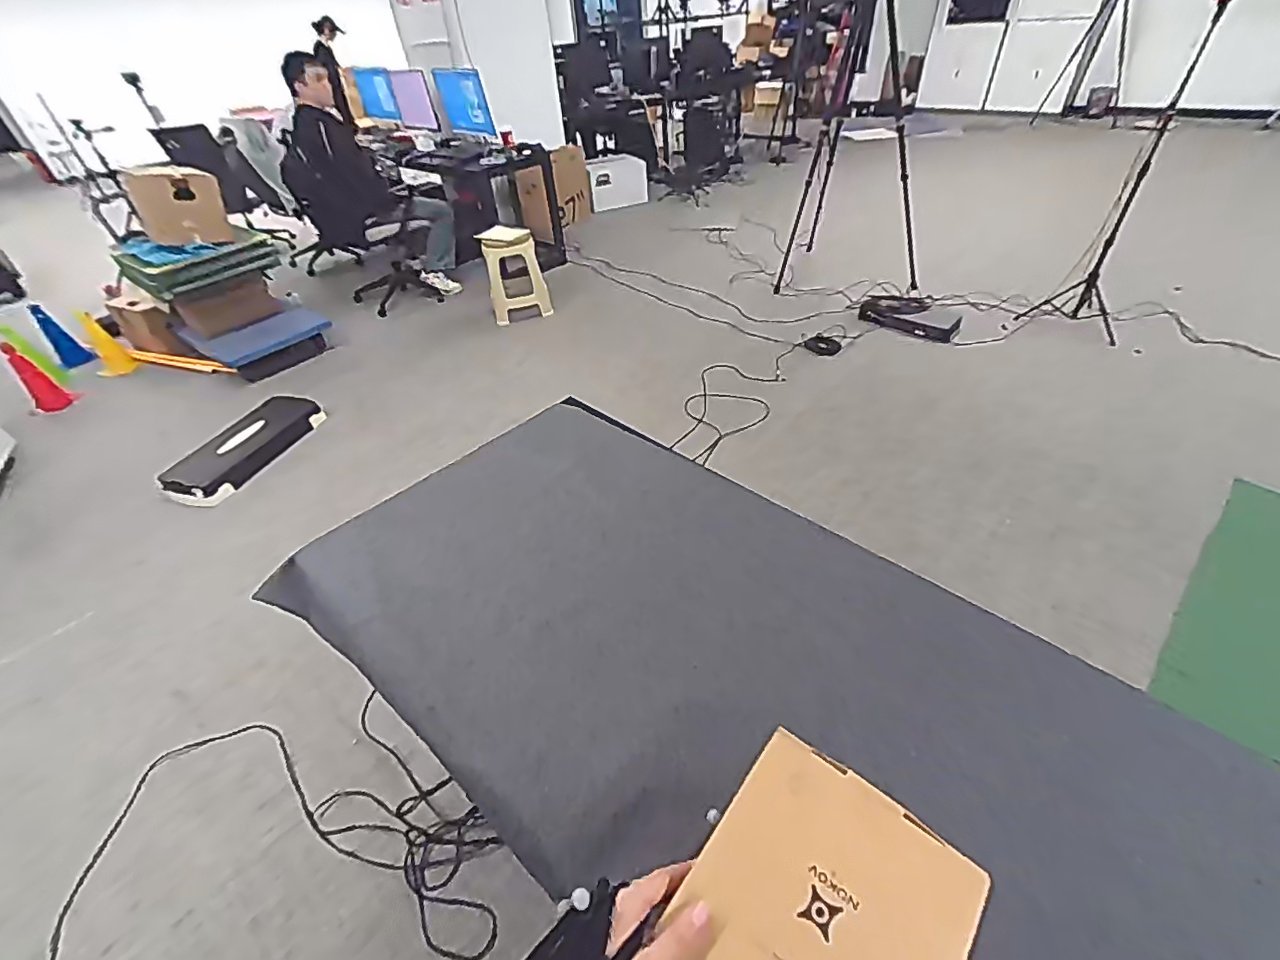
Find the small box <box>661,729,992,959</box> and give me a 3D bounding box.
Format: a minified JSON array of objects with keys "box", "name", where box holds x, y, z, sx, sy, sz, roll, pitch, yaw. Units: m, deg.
[{"box":[0.134,0.342,0.424,0.168,0.176,0.179,27,57,29],"name":"small box"}]
